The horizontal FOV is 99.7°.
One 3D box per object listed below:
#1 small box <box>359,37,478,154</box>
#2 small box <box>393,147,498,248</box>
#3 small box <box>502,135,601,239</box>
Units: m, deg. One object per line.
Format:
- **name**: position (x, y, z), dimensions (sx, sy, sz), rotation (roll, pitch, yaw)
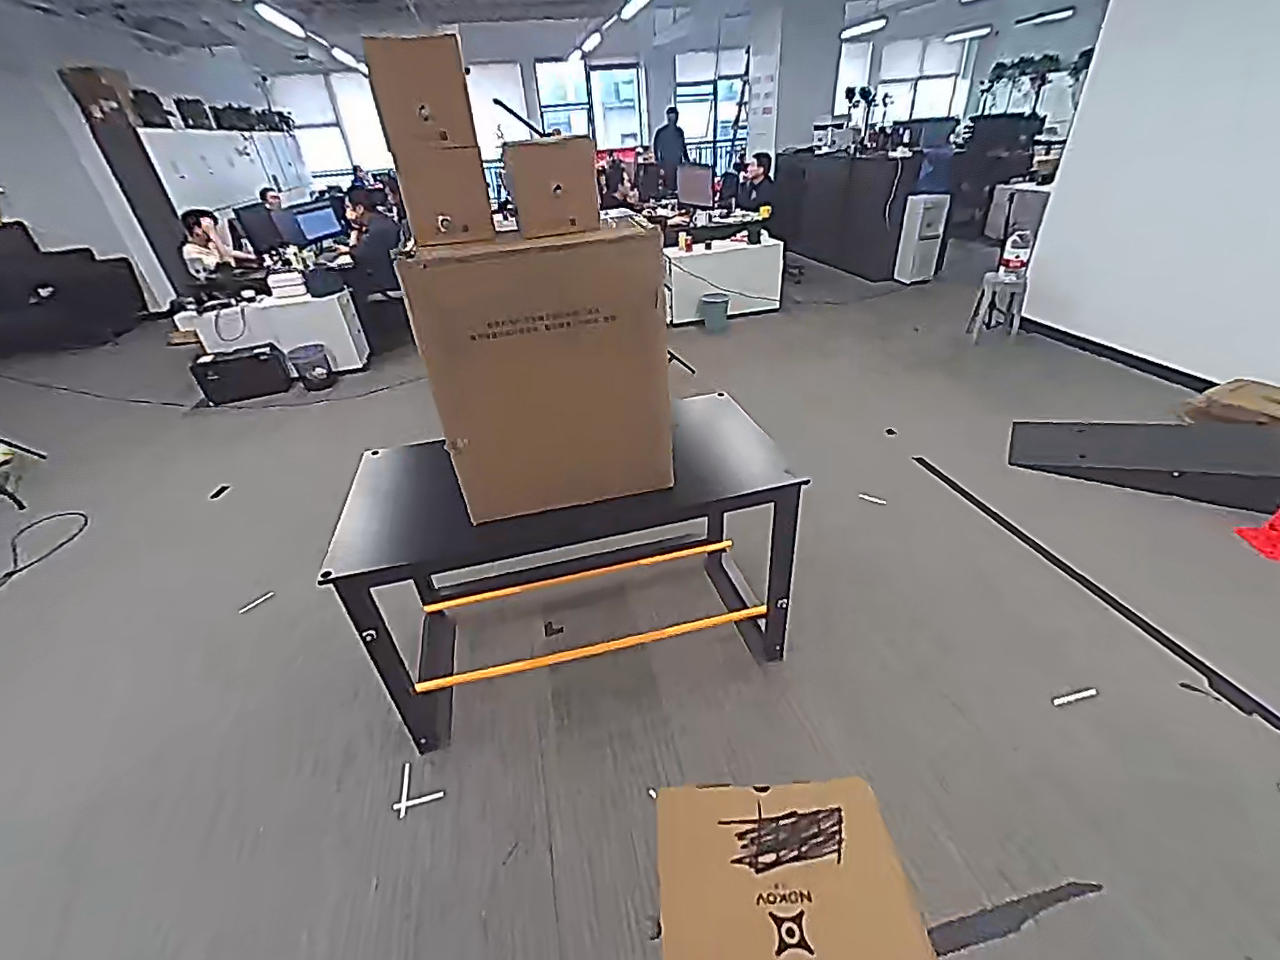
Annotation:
- **small box**: position (-0.412, -0.726, 1.033), dimensions (0.168, 0.176, 0.179), rotation (-12, 34, -12)
- **small box**: position (-0.400, -0.590, 1.126), dimensions (0.168, 0.176, 0.179), rotation (-14, 36, -14)
- **small box**: position (-0.185, -0.615, 1.137), dimensions (0.168, 0.176, 0.179), rotation (-13, 36, -11)
